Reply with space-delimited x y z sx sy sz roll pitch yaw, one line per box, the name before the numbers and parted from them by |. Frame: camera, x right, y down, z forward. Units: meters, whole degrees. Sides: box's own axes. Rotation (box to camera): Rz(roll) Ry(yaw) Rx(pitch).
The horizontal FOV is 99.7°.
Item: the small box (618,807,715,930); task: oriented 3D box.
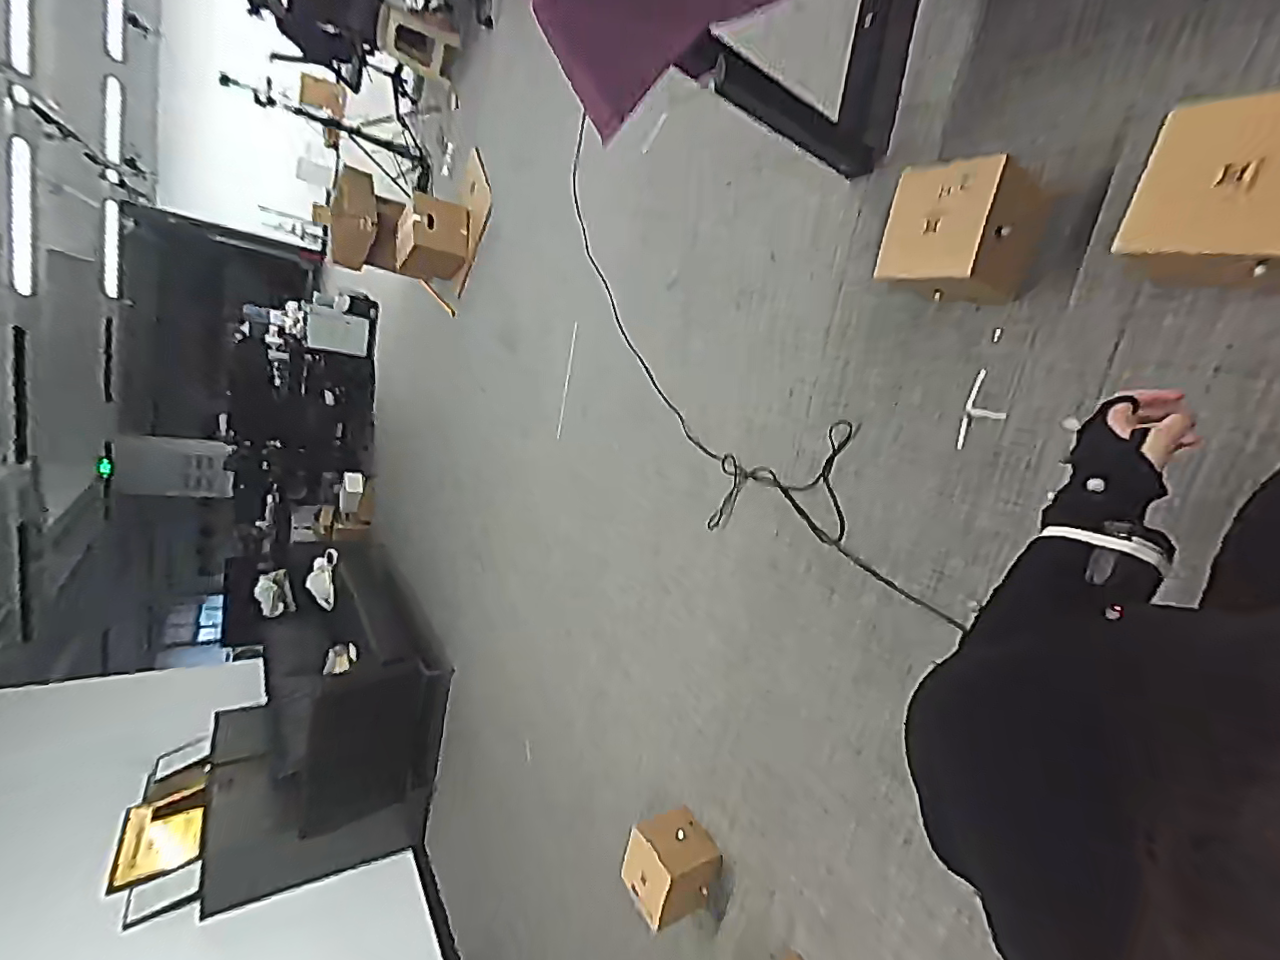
small box | 0.072 0.998 1.407 0.168 0.176 0.179 30 110 52
